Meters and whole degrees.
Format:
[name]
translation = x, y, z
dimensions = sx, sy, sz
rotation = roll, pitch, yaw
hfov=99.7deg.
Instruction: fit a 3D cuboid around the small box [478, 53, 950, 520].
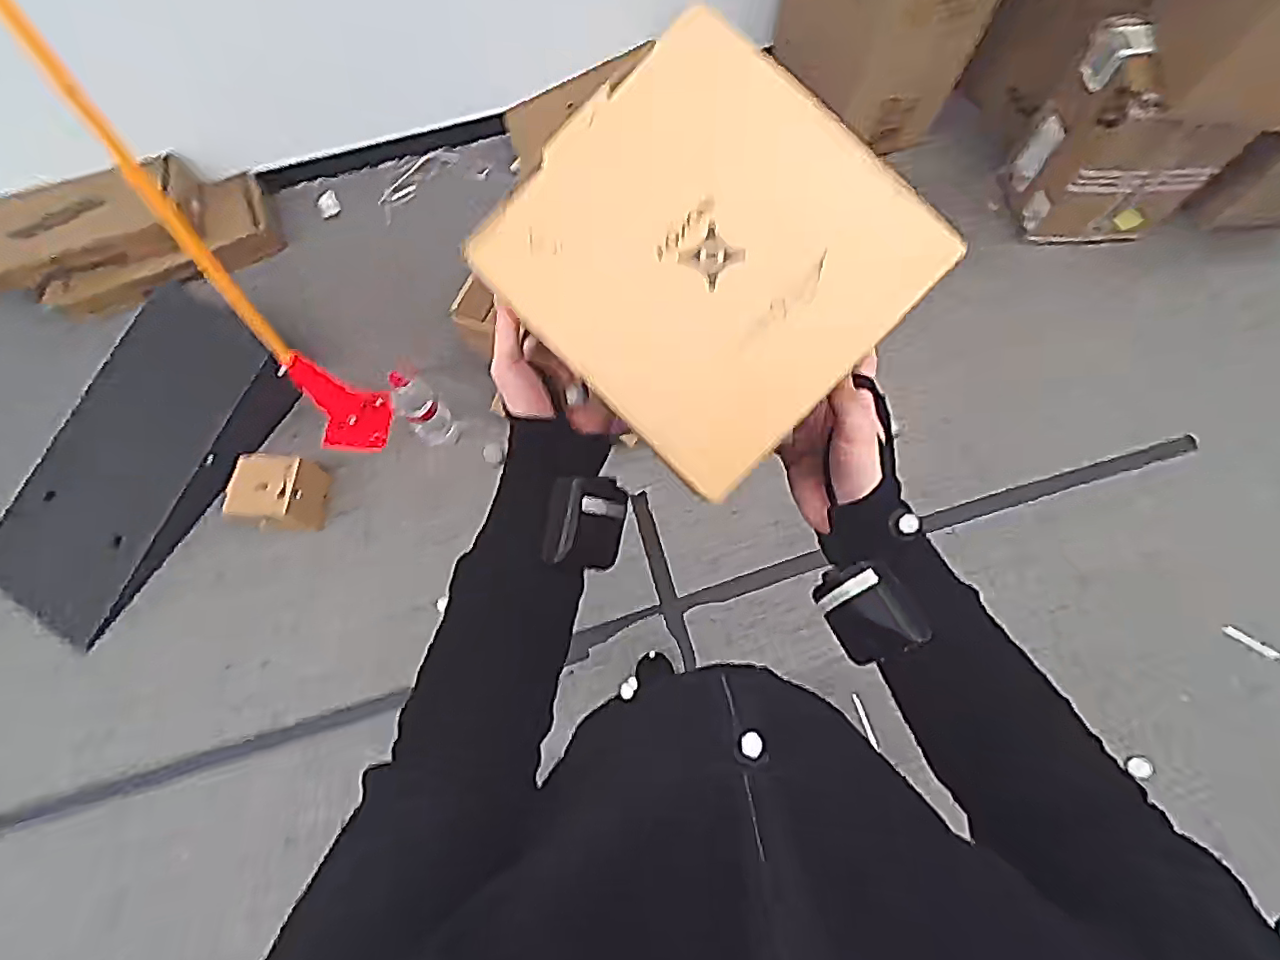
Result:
[small box]
translation = 0.037, -0.095, 0.345
dimensions = 0.179, 0.176, 0.168
rotation = 45, 94, 1
